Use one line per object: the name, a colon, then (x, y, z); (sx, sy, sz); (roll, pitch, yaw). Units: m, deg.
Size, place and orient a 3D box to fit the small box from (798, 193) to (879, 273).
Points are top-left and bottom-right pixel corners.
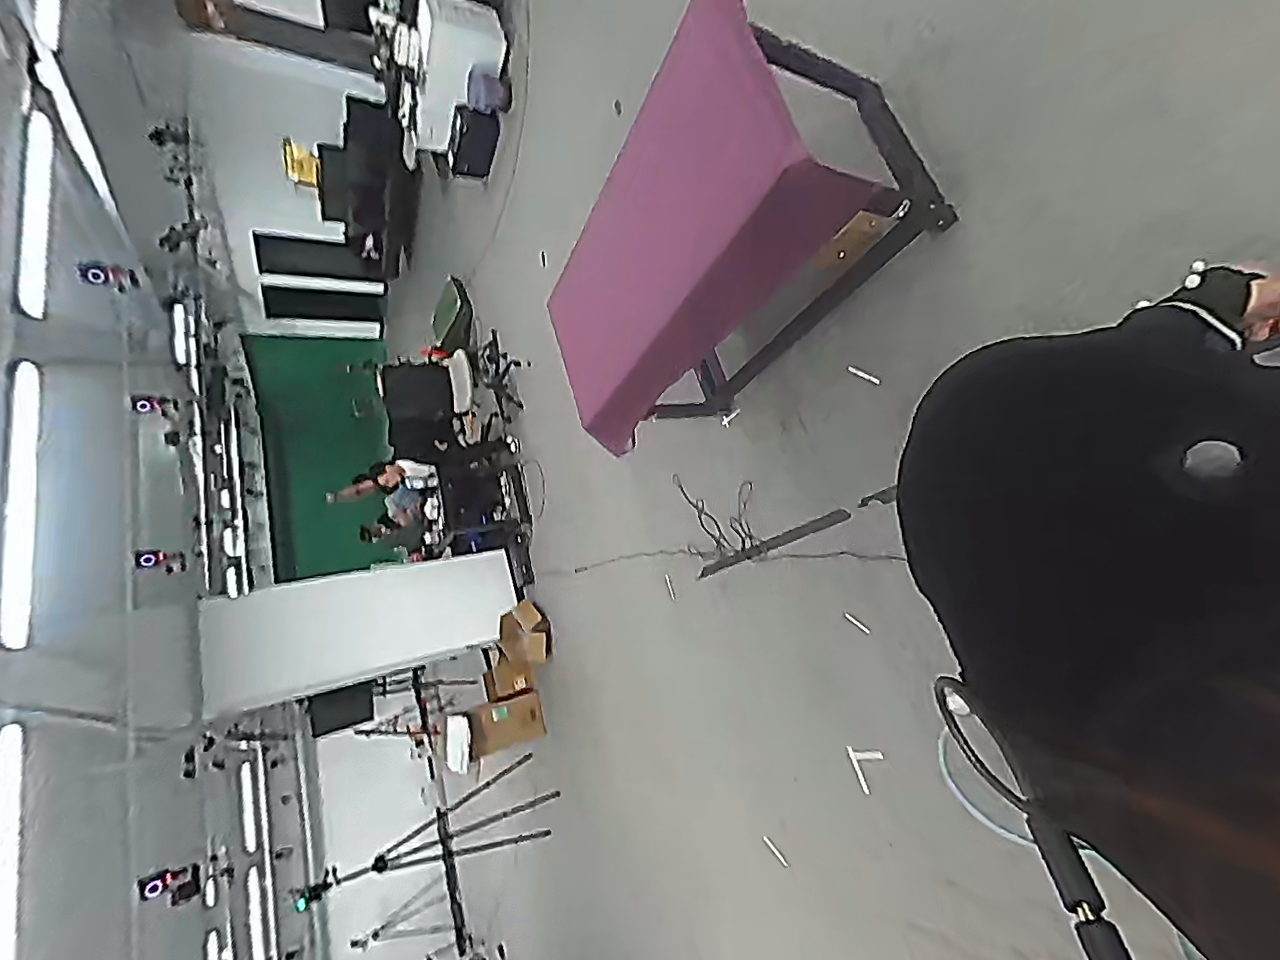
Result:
small box: (0.672, -0.821, 1.814); (0.179, 0.176, 0.168); (-40, 61, 54)
